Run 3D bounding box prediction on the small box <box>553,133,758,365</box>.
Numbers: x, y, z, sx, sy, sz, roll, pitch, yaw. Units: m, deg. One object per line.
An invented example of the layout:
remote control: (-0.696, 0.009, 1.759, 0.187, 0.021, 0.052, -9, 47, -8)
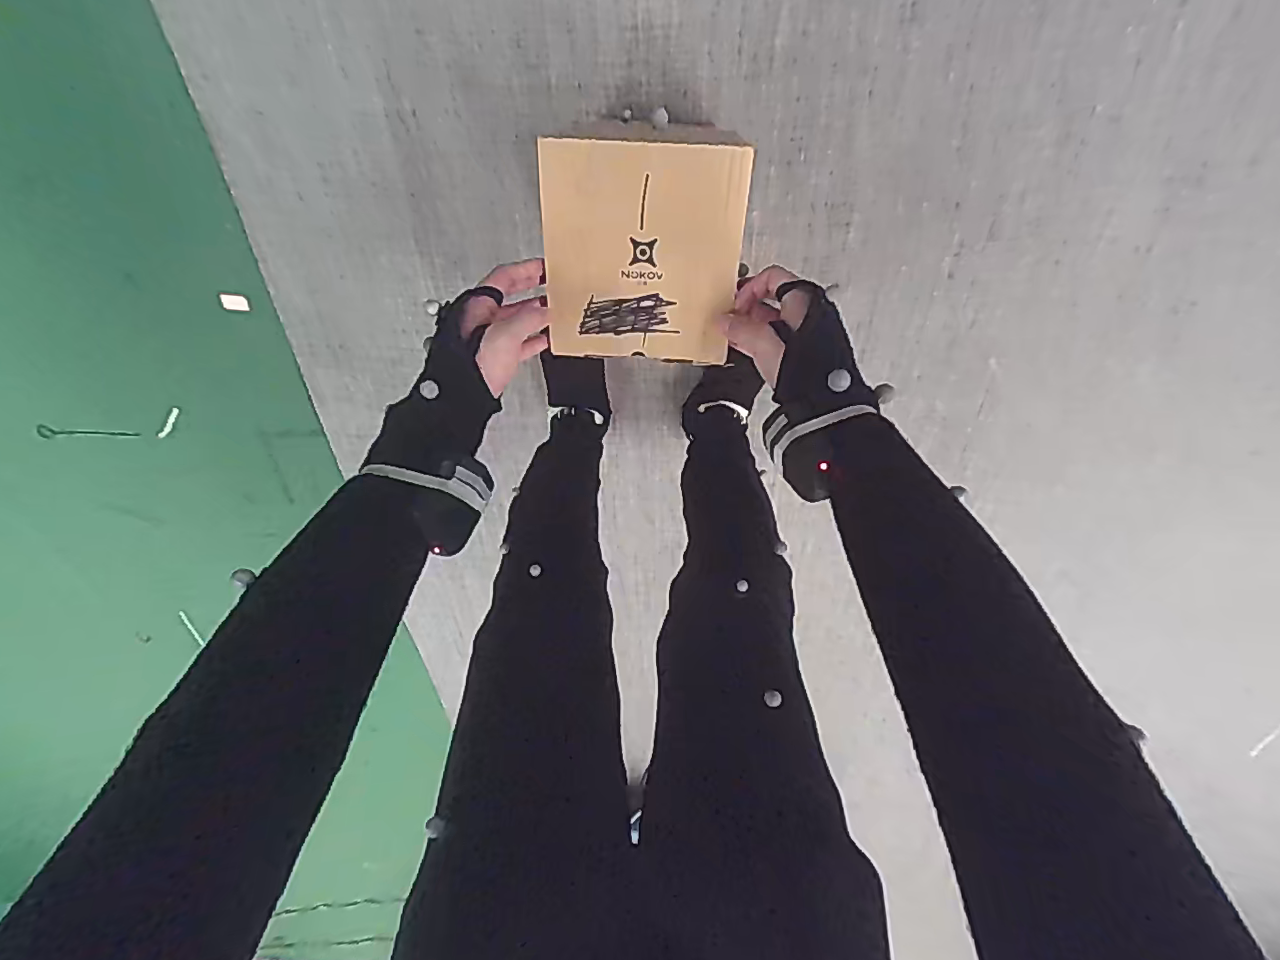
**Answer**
small box: (0.014, -0.233, 0.537, 0.168, 0.176, 0.179, 3, 125, 1)
